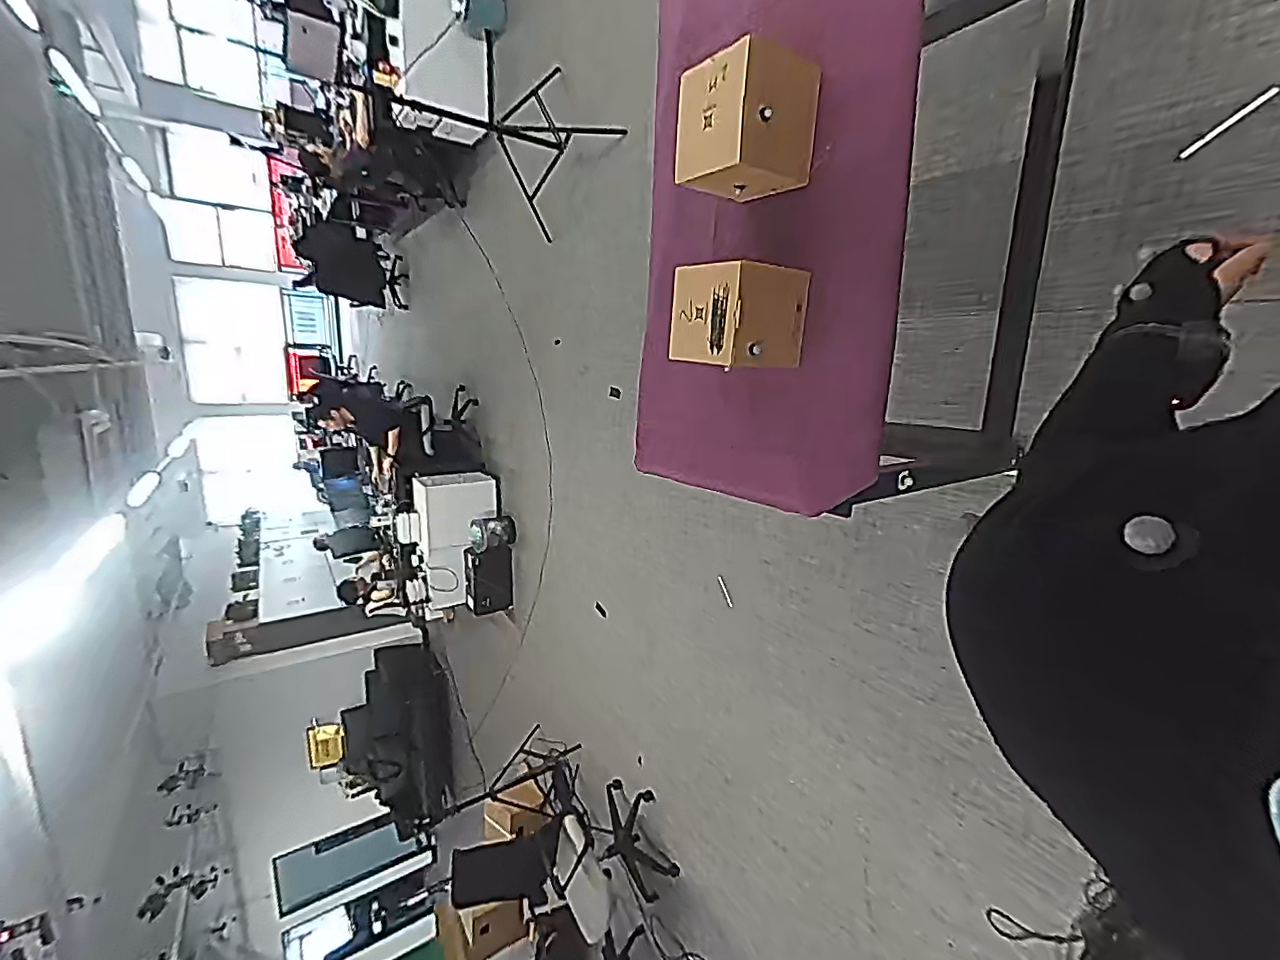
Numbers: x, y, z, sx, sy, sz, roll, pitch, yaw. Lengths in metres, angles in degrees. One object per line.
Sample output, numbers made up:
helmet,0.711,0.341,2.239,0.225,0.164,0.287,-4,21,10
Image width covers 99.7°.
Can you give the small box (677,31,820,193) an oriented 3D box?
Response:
small box,0.182,-0.600,0.915,0.168,0.176,0.179,24,114,52
